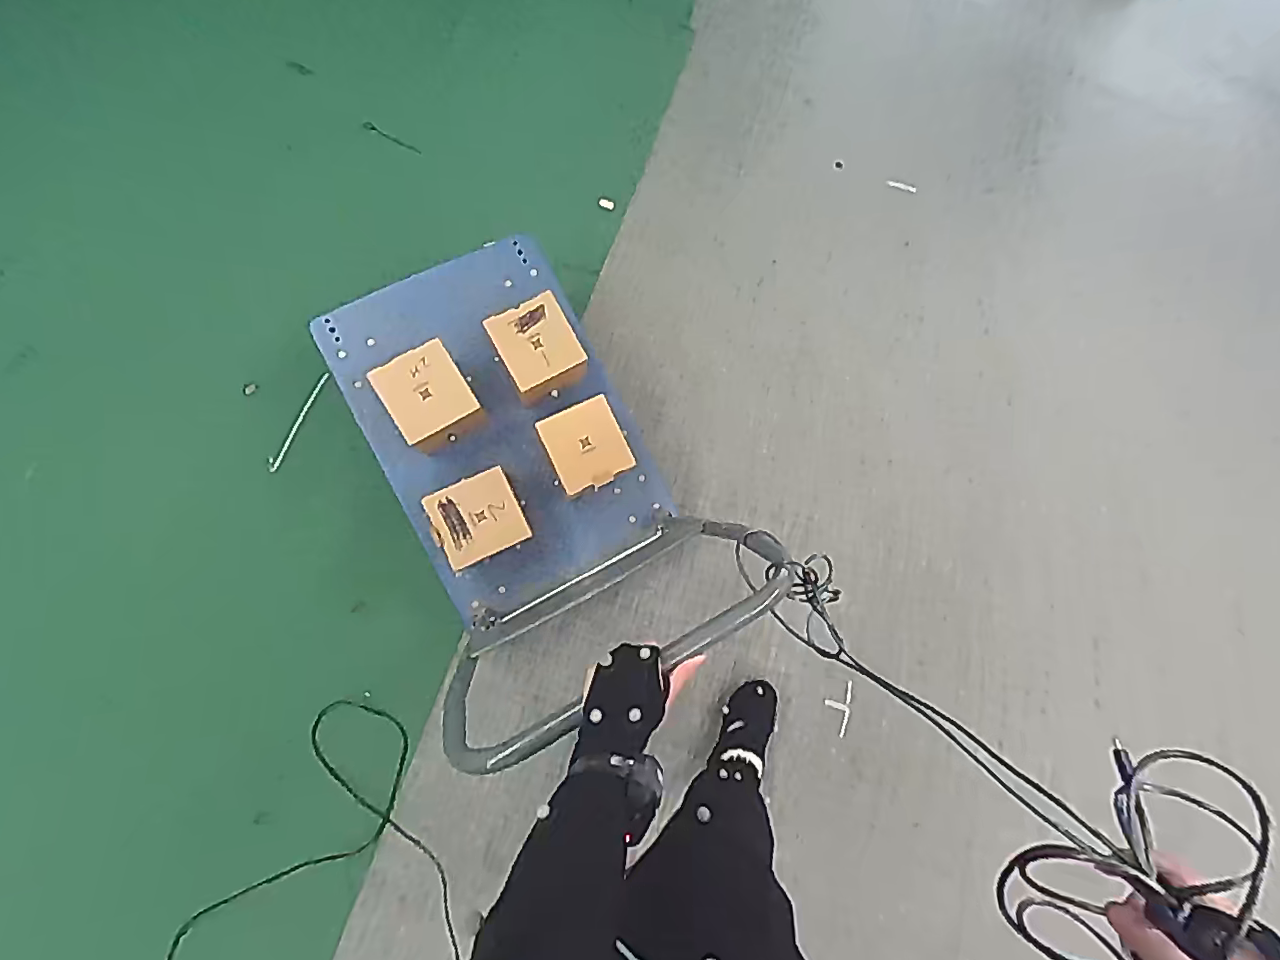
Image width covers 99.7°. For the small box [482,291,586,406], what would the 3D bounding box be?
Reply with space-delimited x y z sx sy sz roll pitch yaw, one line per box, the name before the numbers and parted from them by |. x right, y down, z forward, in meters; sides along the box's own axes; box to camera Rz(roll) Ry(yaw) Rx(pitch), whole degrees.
small box | -0.241 -0.293 1.242 0.168 0.176 0.179 -30 91 -10

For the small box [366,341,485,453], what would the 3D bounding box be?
small box | -0.462 -0.172 1.196 0.168 0.176 0.179 -32 91 -11

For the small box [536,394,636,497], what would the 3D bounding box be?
small box | -0.130 -0.072 1.244 0.168 0.176 0.179 -26 91 -10
